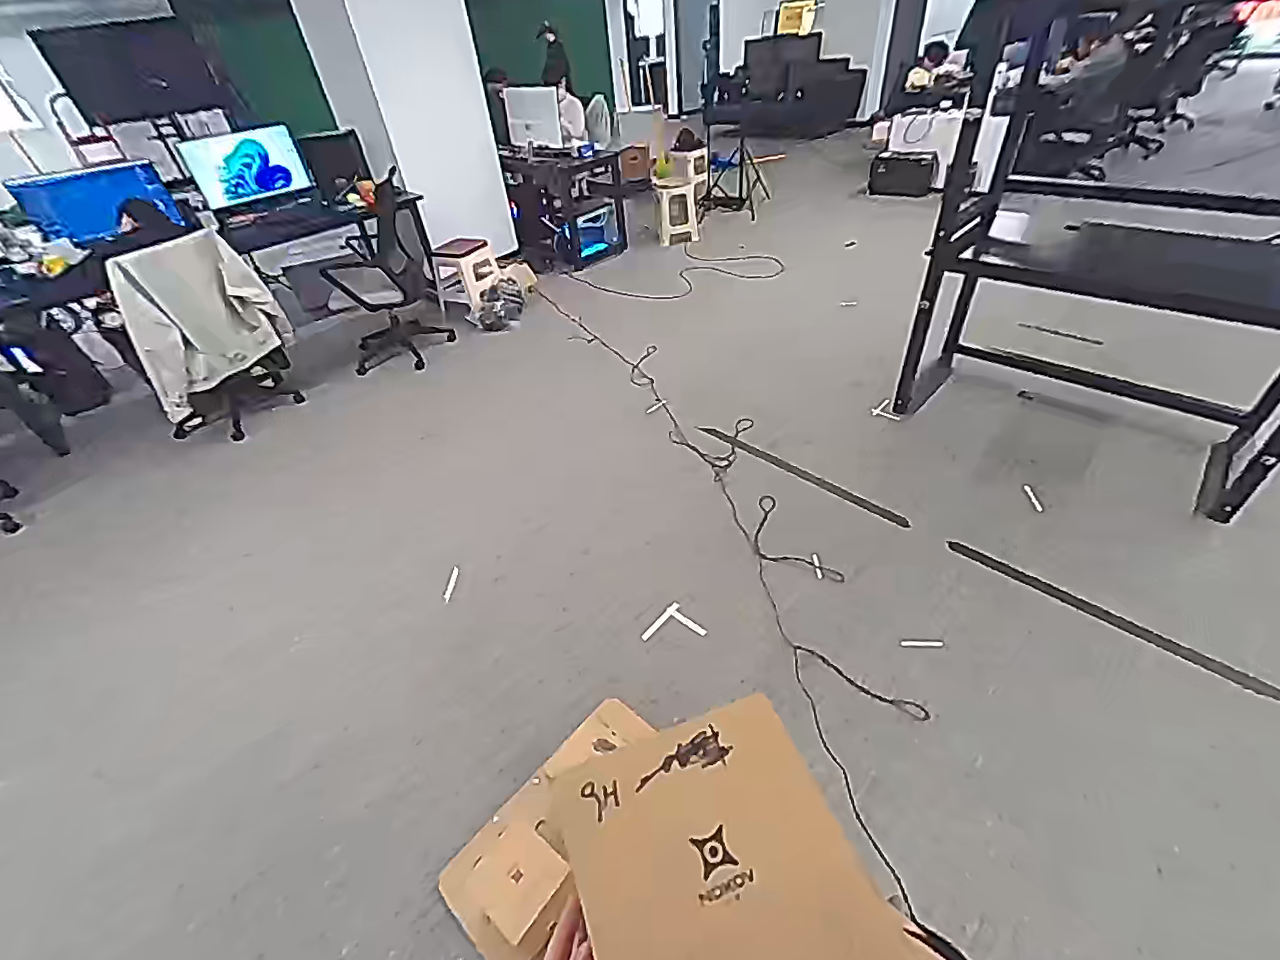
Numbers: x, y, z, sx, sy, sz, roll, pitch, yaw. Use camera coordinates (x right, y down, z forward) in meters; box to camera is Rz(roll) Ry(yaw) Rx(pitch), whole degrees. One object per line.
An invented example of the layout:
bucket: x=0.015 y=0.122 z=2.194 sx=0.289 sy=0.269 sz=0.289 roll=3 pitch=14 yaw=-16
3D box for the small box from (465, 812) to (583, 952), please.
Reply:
small box: x=-0.247 y=0.883 z=1.185 sx=0.179 sy=0.176 sz=0.168 roll=24 pitch=50 yaw=30

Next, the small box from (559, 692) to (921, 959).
small box: x=0.049 y=0.285 z=0.373 sx=0.168 sy=0.176 sz=0.179 roll=-12 pitch=45 yaw=-16

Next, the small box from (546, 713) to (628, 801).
small box: x=-0.106 y=0.729 z=1.341 sx=0.168 sy=0.176 sz=0.179 roll=25 pitch=50 yaw=32
